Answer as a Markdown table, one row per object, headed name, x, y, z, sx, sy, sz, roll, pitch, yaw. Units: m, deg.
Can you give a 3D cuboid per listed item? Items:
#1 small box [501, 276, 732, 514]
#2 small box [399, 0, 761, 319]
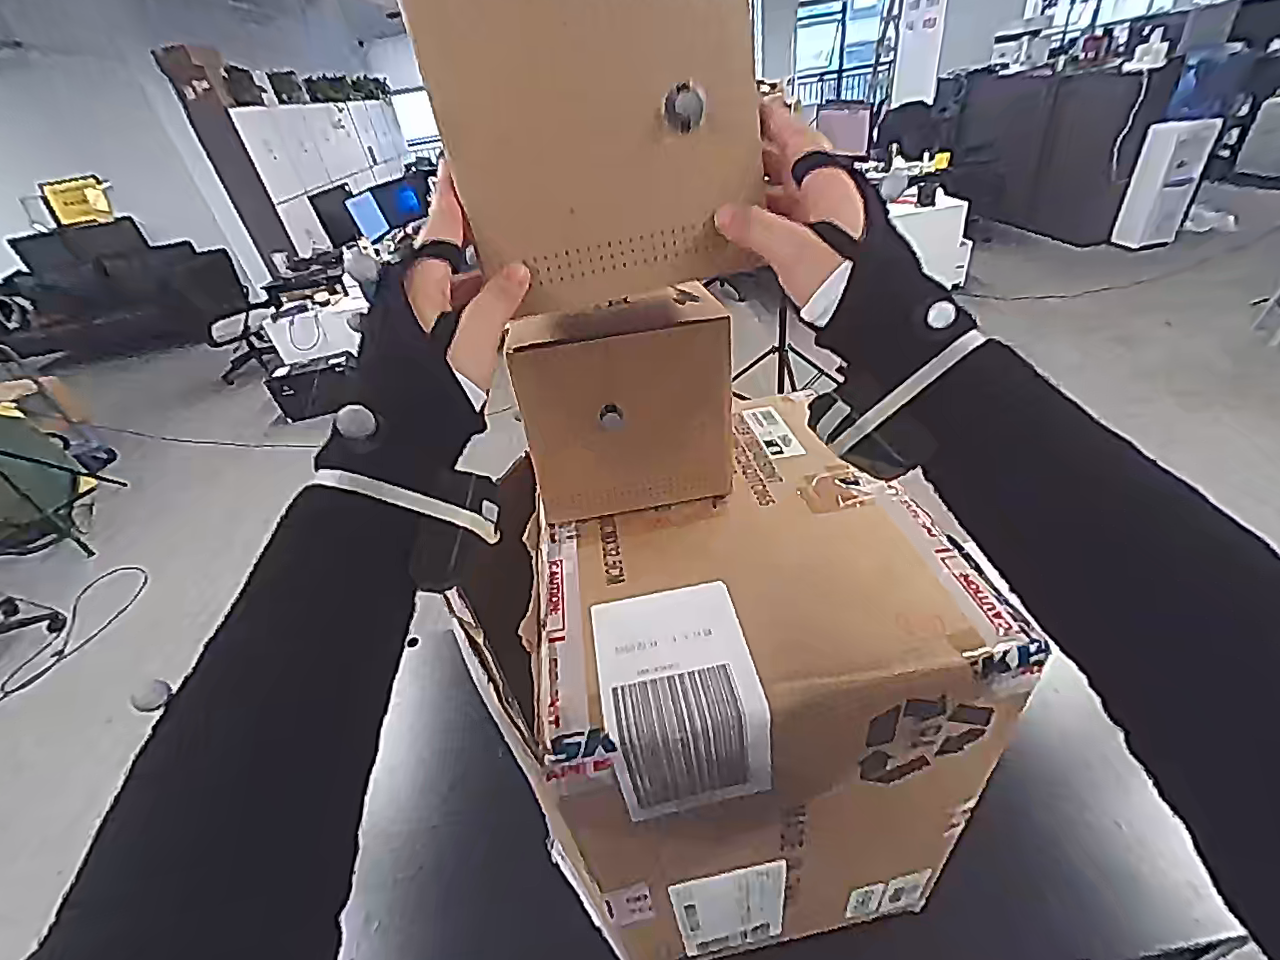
| name | x | y | z | sx | sy | sz | roll | pitch | yaw |
| --- | --- | --- | --- | --- | --- | --- | --- | --- | --- |
| small box | -0.019 | -0.085 | 0.513 | 0.179 | 0.176 | 0.168 | -10 | 34 | -4 |
| small box | -0.028 | -0.219 | 0.357 | 0.179 | 0.176 | 0.168 | -15 | 27 | -3 |
